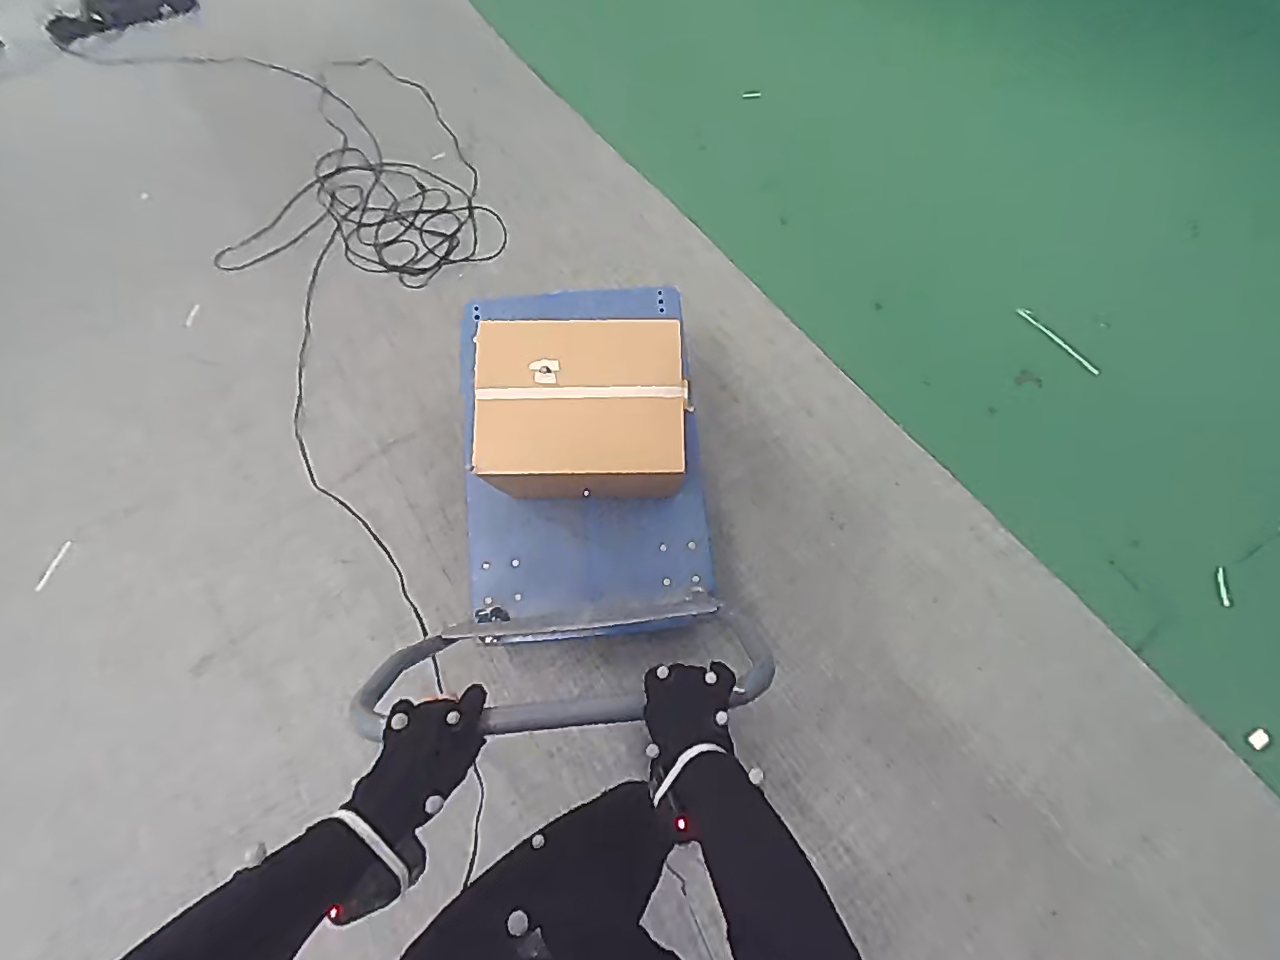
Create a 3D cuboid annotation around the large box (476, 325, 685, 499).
[{"bbox_3d":[-0.114,-0.130,1.195,0.408,0.320,0.320,0,80,0],"label":"large box"}]
